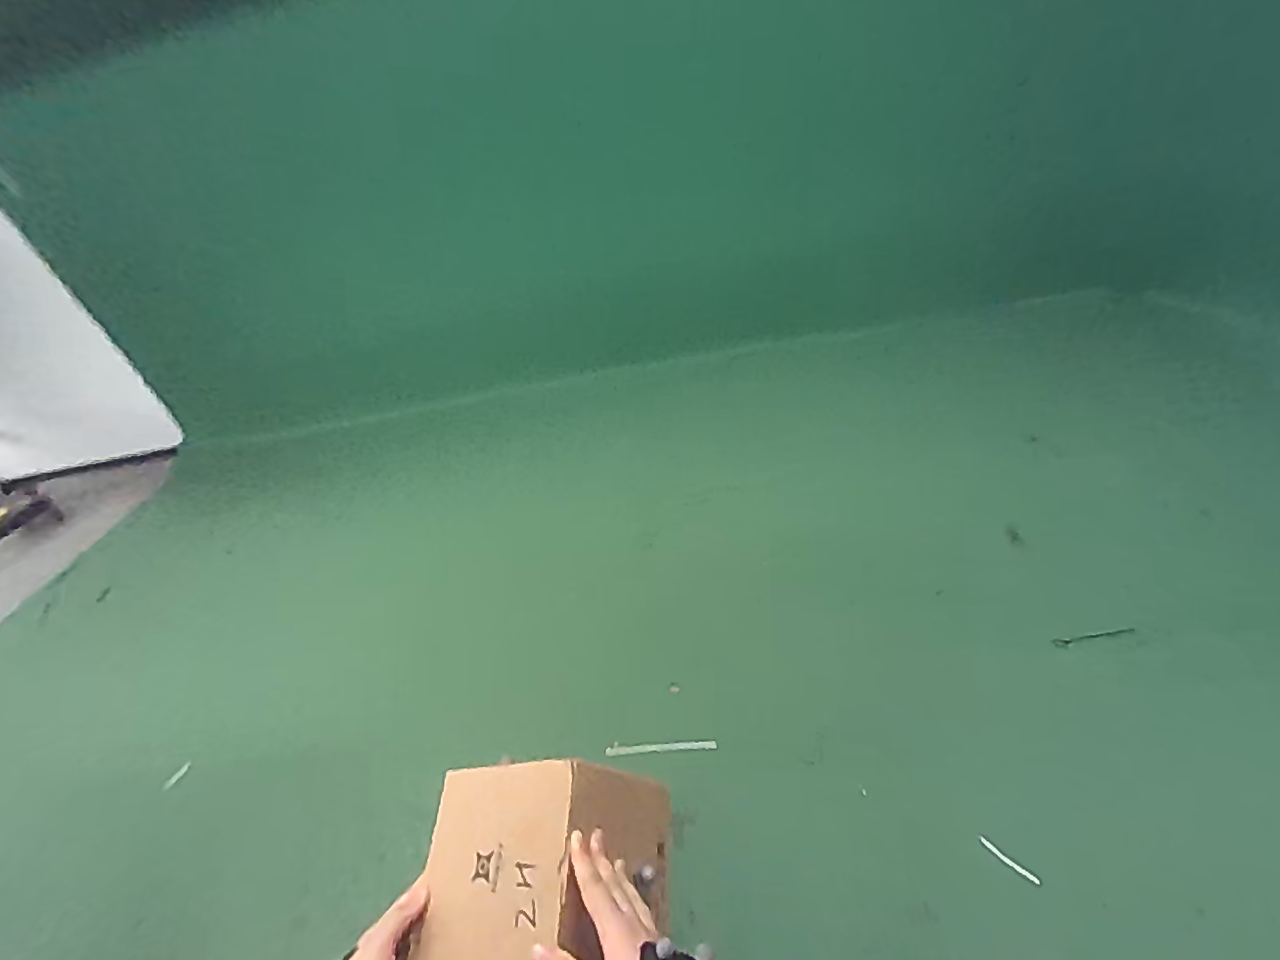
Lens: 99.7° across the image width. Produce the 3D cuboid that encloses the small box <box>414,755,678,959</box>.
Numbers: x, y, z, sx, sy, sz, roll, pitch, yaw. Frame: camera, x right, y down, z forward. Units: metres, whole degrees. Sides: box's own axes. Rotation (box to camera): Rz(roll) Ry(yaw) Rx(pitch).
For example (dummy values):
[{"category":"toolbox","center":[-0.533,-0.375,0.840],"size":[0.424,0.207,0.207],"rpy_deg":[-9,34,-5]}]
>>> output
[{"category":"small box","center":[-0.079,0.381,0.533],"size":[0.179,0.176,0.168],"rpy_deg":[-20,48,27]}]
